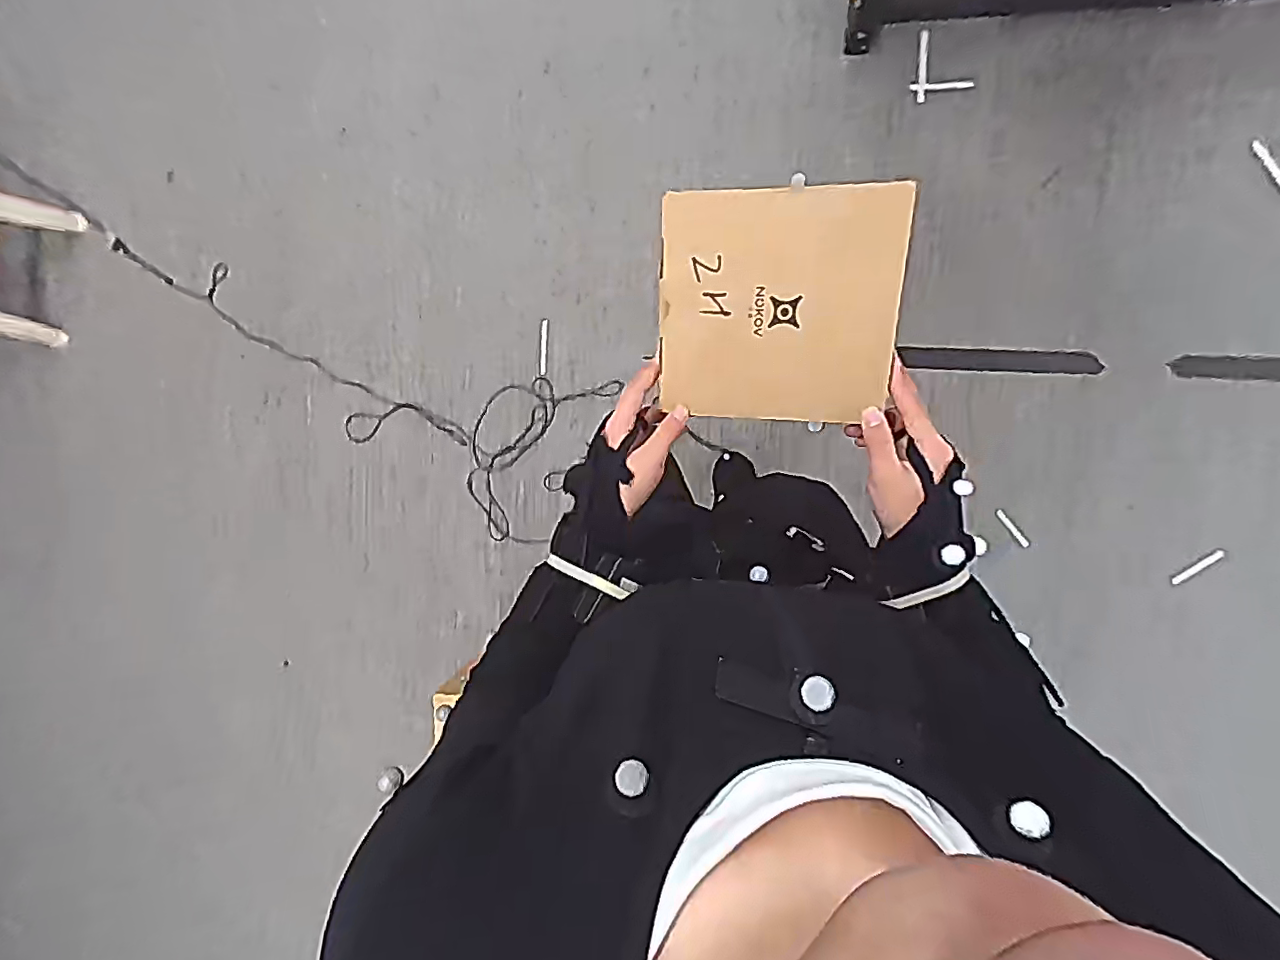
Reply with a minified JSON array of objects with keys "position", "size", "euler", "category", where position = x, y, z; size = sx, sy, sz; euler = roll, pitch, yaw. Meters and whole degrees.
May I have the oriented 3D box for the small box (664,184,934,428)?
[{"position":[0.124,-0.148,0.465],"size":[0.179,0.176,0.168],"euler":[6,109,14],"category":"small box"}]
